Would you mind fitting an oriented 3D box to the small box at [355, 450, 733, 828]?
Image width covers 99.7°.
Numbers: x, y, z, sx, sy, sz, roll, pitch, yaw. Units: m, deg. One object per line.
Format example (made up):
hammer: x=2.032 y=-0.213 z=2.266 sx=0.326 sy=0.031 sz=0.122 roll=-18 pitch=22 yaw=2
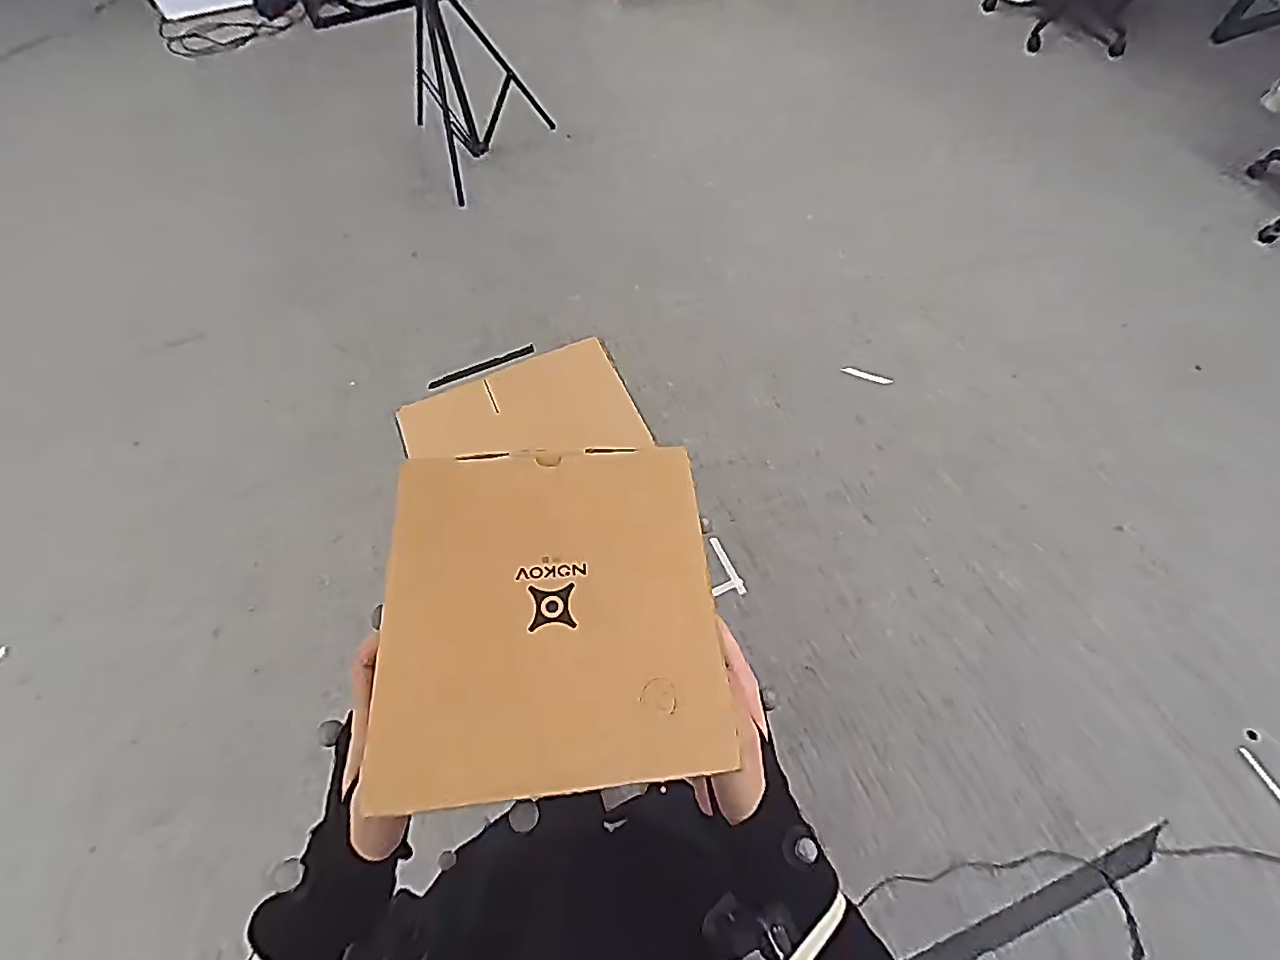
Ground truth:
small box: x=-0.052 y=0.101 z=0.339 sx=0.168 sy=0.176 sz=0.179 roll=-3 pitch=60 yaw=-7
